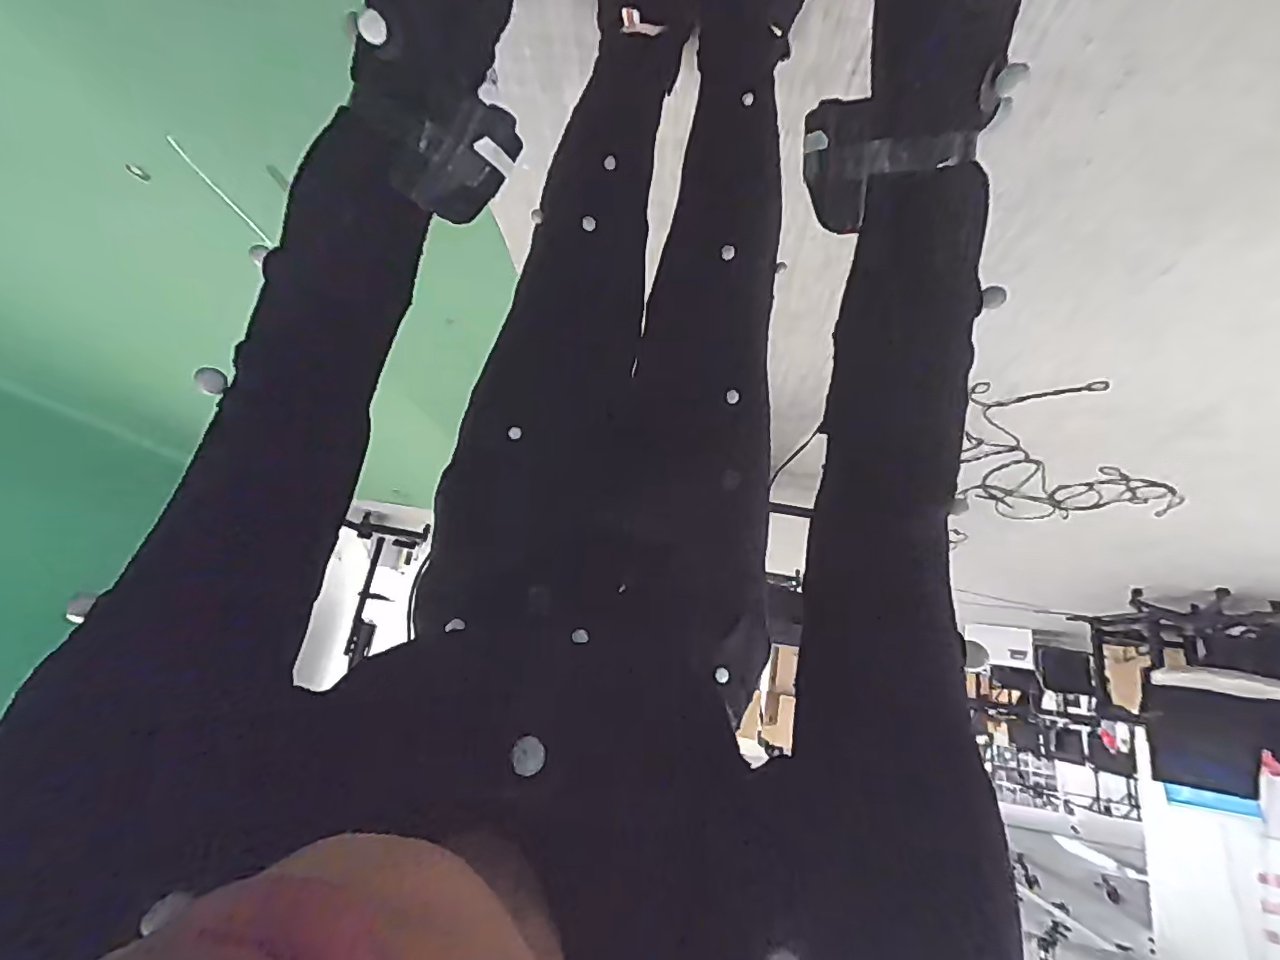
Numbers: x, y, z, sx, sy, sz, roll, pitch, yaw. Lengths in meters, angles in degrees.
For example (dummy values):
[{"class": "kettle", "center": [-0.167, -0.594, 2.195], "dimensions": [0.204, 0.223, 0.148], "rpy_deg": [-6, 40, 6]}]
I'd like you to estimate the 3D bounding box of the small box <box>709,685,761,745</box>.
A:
[{"class": "small box", "center": [0.338, 0.835, 1.936], "dimensions": [0.168, 0.176, 0.179], "rpy_deg": [8, 162, 10]}]
